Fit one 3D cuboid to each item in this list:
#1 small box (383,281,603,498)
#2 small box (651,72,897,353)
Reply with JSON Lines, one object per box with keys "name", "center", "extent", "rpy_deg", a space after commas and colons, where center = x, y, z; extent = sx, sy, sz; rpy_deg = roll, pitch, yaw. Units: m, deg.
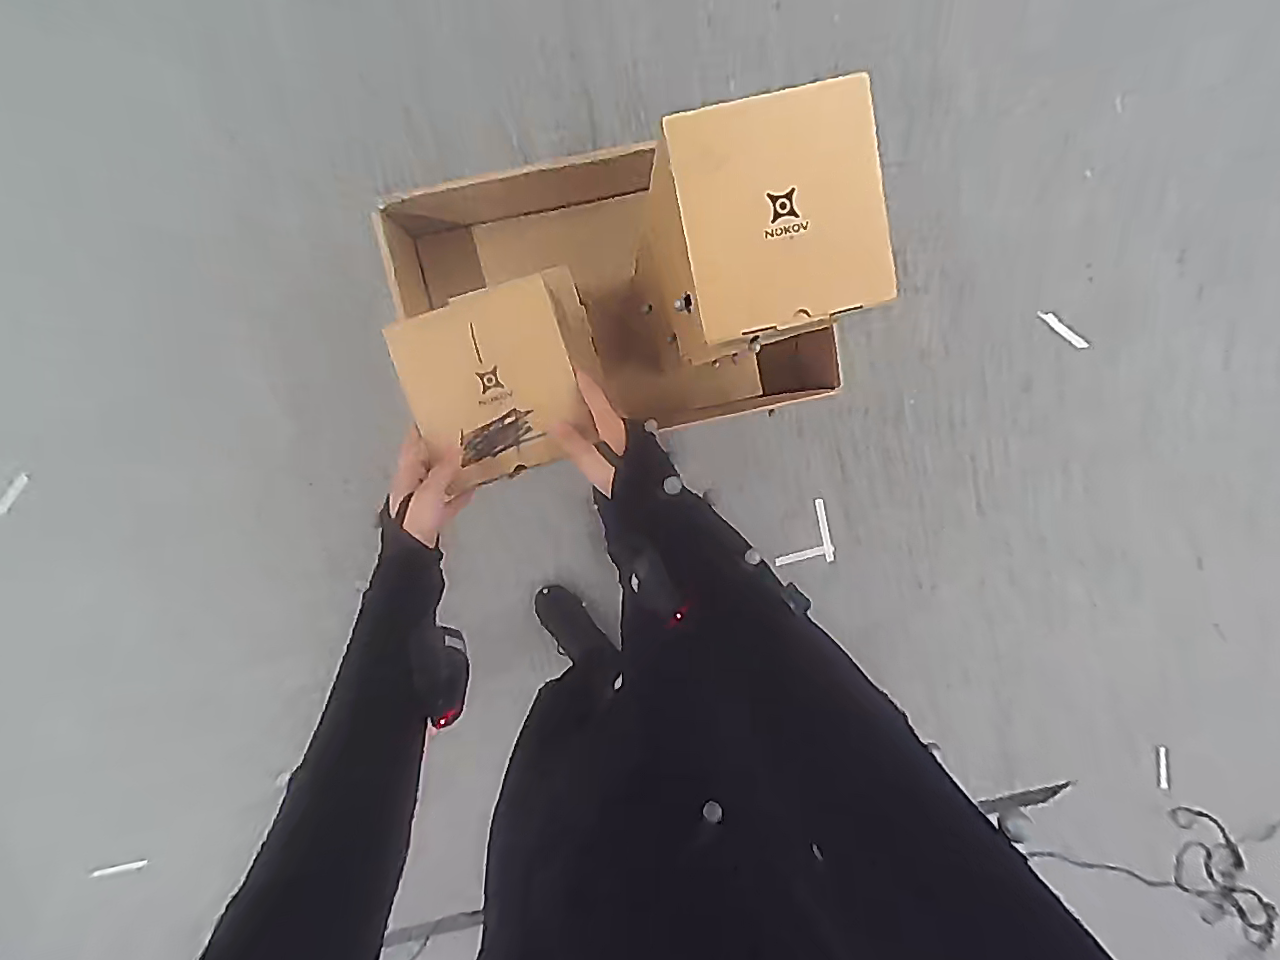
{"name": "small box", "center": [-0.145, -0.099, 0.605], "extent": [0.168, 0.176, 0.179], "rpy_deg": [-18, 99, 2]}
{"name": "small box", "center": [0.109, -0.226, 0.506], "extent": [0.168, 0.176, 0.179], "rpy_deg": [-13, 100, 0]}
